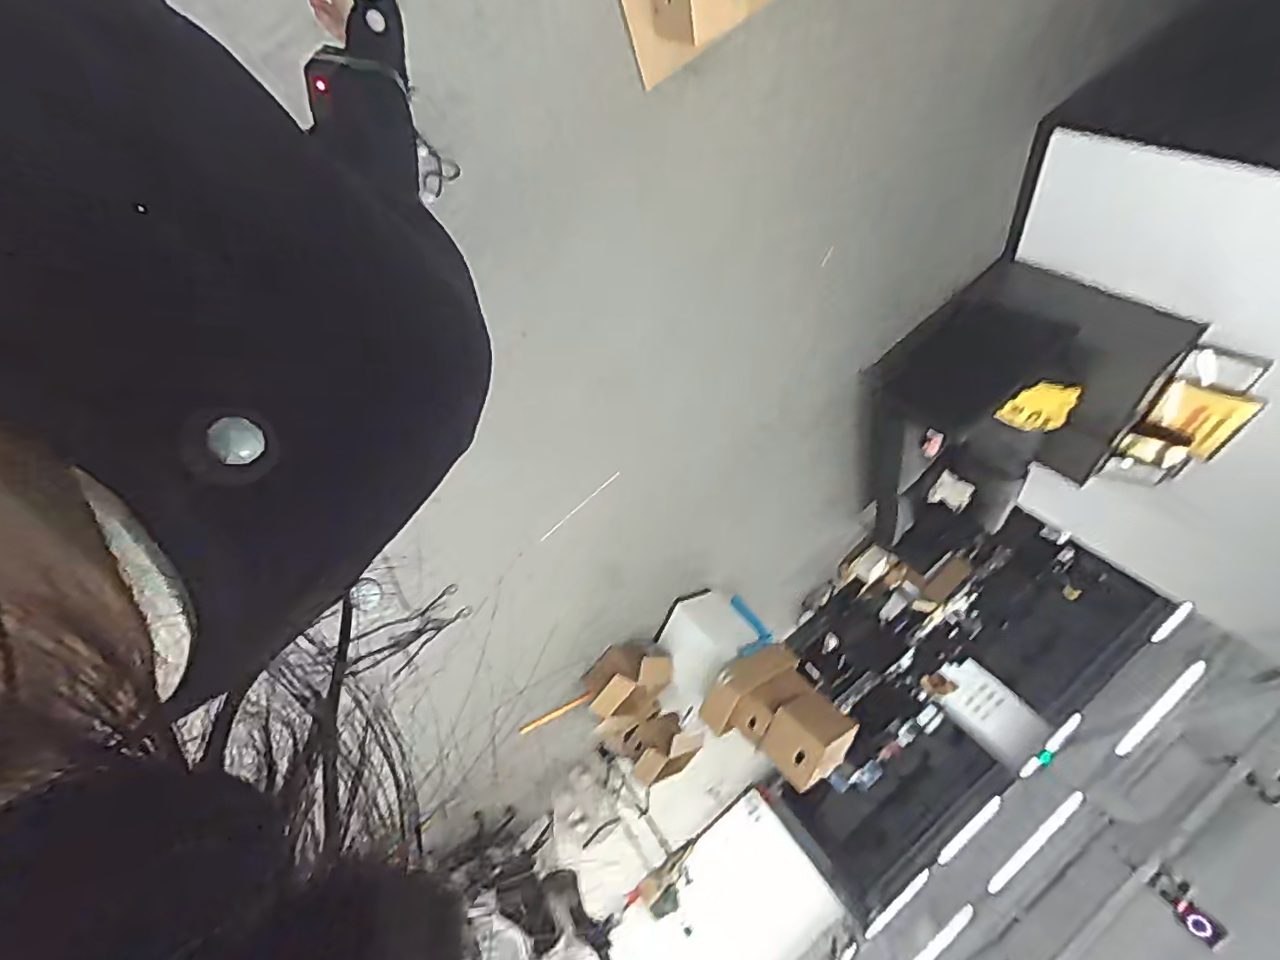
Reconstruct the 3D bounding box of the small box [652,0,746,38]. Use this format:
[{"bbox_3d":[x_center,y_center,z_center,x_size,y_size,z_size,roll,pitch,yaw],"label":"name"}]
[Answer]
[{"bbox_3d":[0.135,-1.213,1.313,0.179,0.176,0.168,-37,146,-12],"label":"small box"}]
